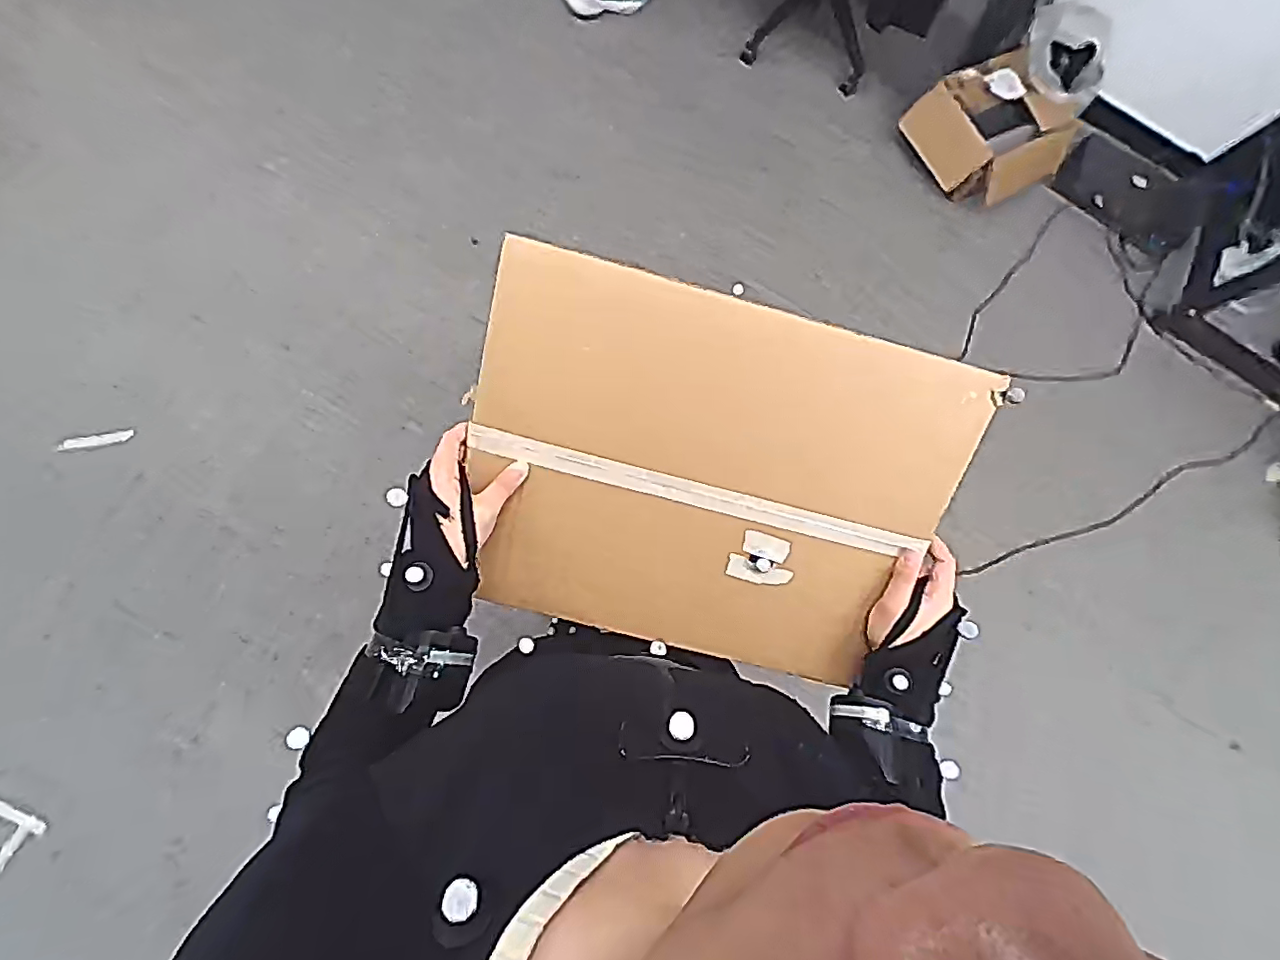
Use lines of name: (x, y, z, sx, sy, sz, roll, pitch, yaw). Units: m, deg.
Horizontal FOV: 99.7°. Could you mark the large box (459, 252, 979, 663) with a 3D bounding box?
large box: (0.051, -0.046, 0.615, 0.408, 0.320, 0.320, 13, 111, -5)
